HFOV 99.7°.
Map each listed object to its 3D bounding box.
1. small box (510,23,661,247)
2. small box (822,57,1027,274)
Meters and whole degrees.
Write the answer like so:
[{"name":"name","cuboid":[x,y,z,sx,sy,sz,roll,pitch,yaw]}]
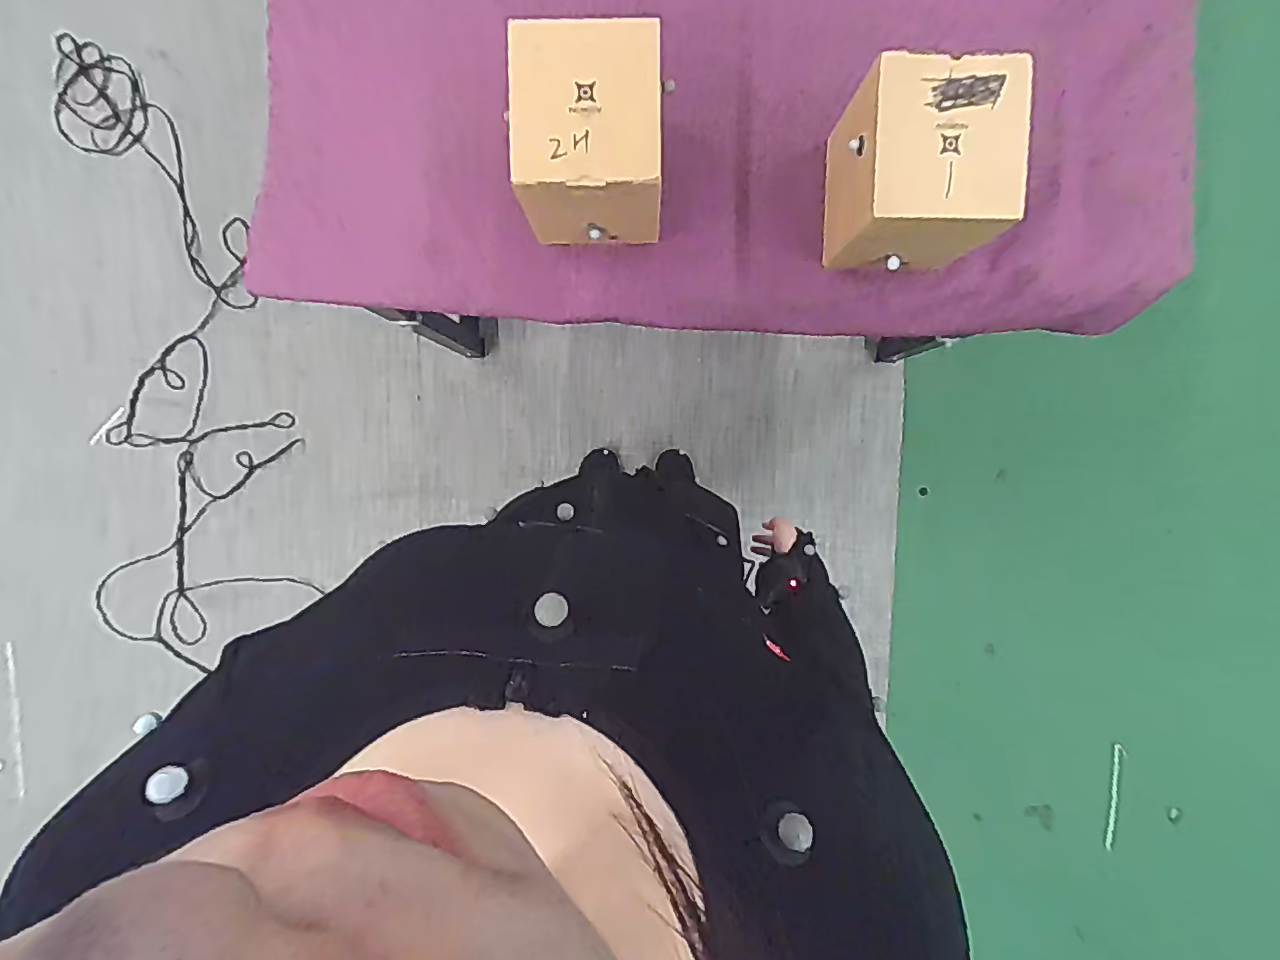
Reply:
[{"name":"small box","cuboid":[-0.059,-0.408,0.664,0.168,0.176,0.179,-1,92,1]},{"name":"small box","cuboid":[0.334,-0.373,0.667,0.168,0.176,0.179,1,94,0]}]
